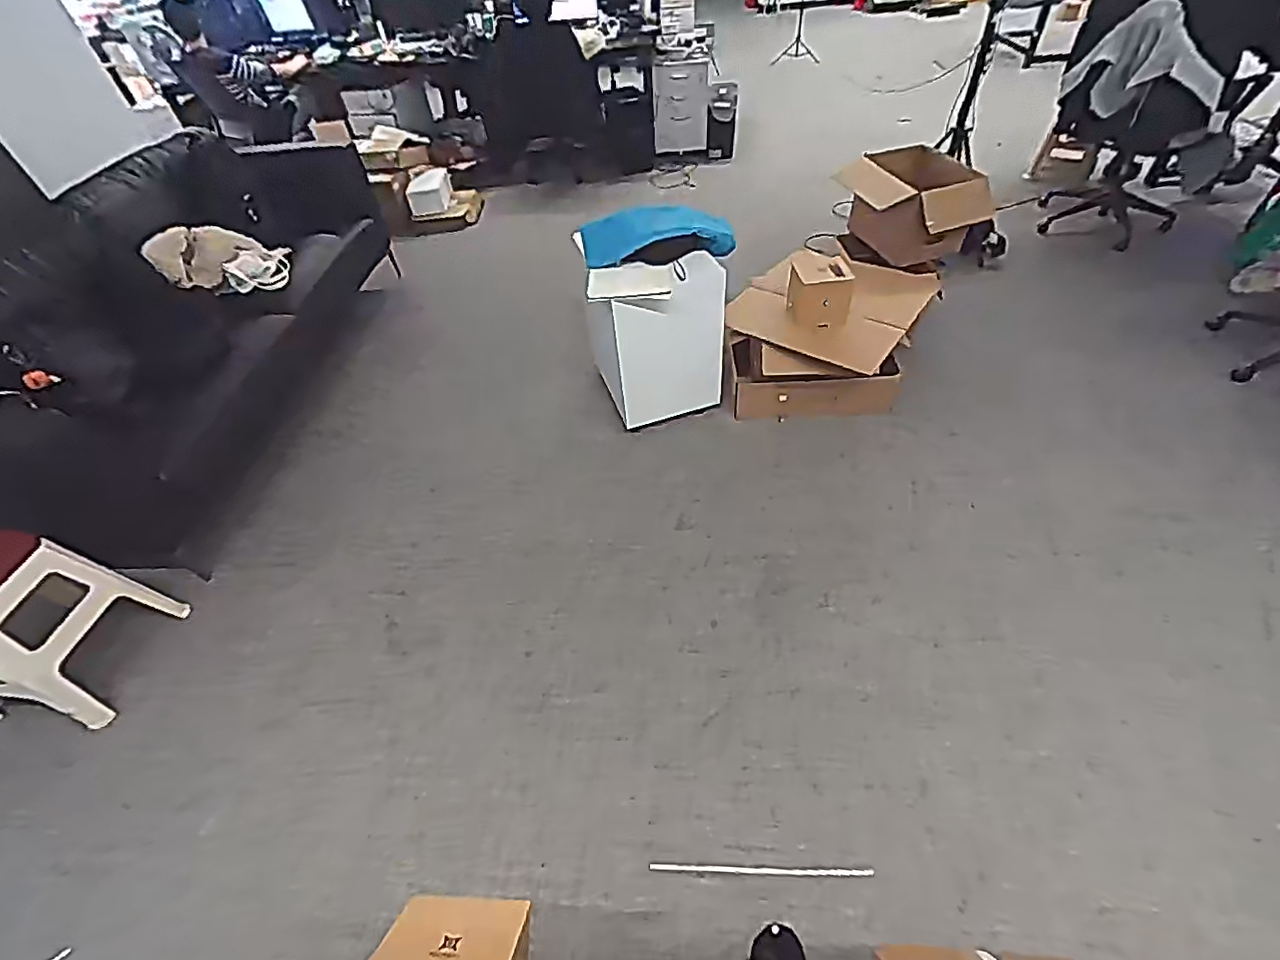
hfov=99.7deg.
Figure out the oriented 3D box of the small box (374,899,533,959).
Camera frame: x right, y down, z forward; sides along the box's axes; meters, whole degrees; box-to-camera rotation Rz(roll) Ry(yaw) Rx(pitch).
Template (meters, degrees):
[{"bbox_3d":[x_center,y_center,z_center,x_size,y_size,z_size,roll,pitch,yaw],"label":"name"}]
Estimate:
[{"bbox_3d":[-0.233,0.652,0.648,0.168,0.179,0.176,1,83,2],"label":"small box"}]
